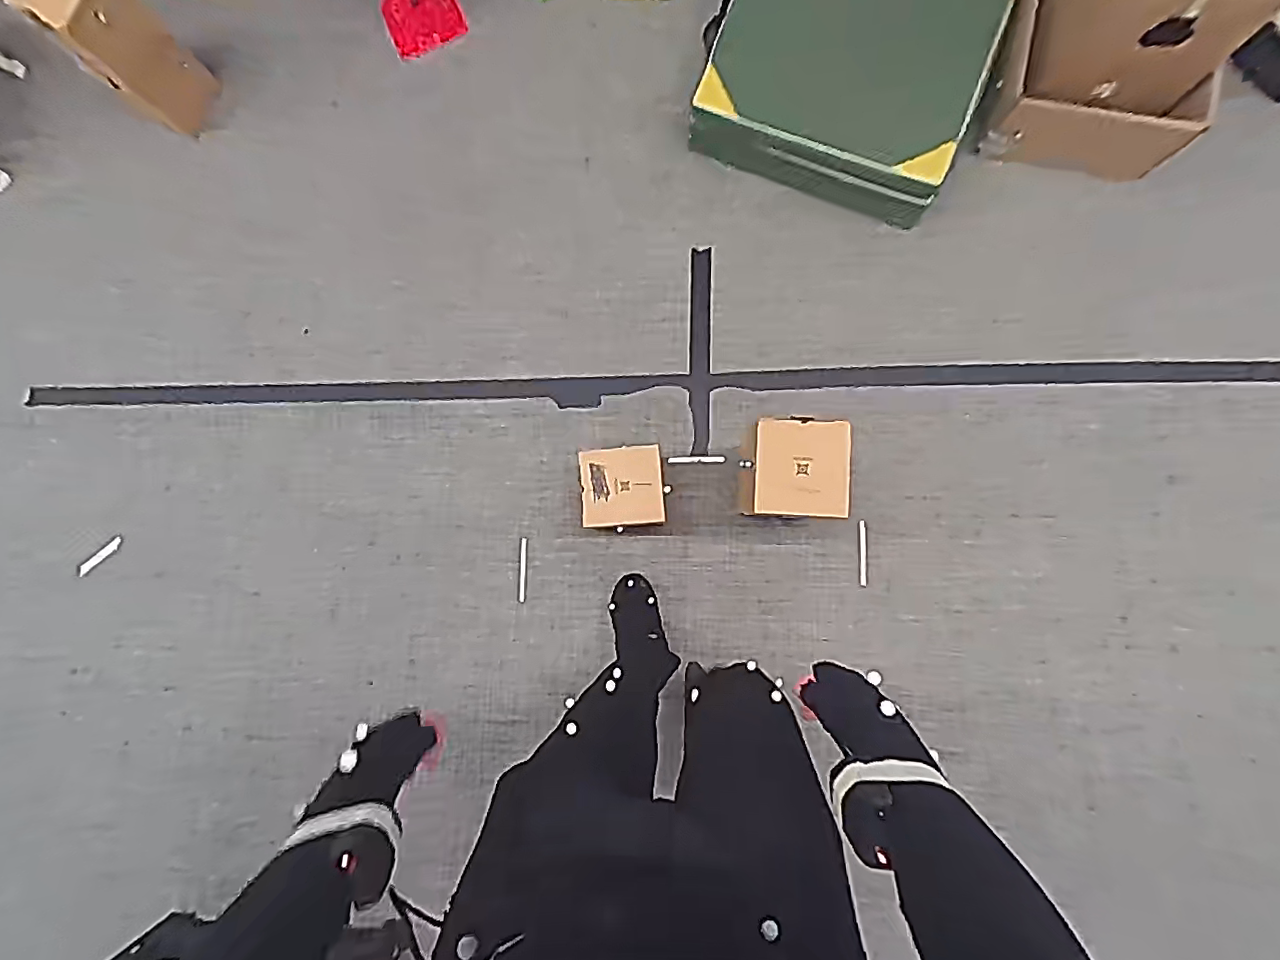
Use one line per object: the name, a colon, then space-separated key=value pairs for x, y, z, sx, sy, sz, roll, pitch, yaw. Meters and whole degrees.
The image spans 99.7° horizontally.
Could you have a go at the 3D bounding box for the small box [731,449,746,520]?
small box: x=0.307 y=0.009 z=1.213 sx=0.179 sy=0.176 sz=0.168 roll=4 pitch=84 yaw=2

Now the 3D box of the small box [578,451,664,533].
small box: x=-0.039 y=0.033 z=1.228 sx=0.179 sy=0.176 sz=0.168 roll=-4 pitch=84 yaw=2

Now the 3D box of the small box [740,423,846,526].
small box: x=0.290 y=-0.004 z=1.052 sx=0.168 sy=0.176 sz=0.179 roll=4 pitch=85 yaw=4
